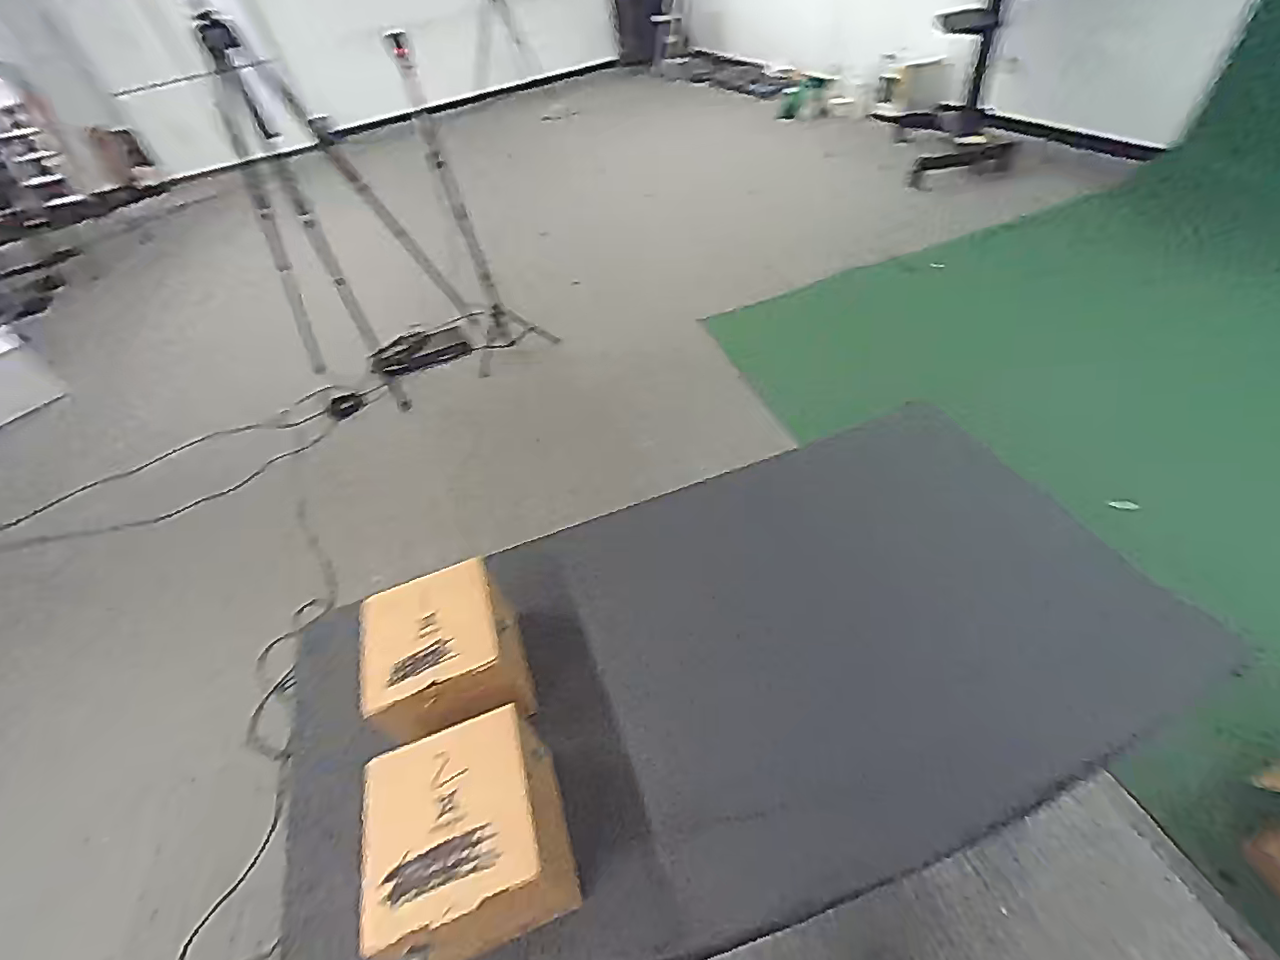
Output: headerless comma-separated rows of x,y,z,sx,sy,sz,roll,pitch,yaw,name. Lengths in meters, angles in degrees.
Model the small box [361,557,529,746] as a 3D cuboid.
-0.268,0.247,0.759,0.168,0.176,0.179,-21,46,-9,small box
